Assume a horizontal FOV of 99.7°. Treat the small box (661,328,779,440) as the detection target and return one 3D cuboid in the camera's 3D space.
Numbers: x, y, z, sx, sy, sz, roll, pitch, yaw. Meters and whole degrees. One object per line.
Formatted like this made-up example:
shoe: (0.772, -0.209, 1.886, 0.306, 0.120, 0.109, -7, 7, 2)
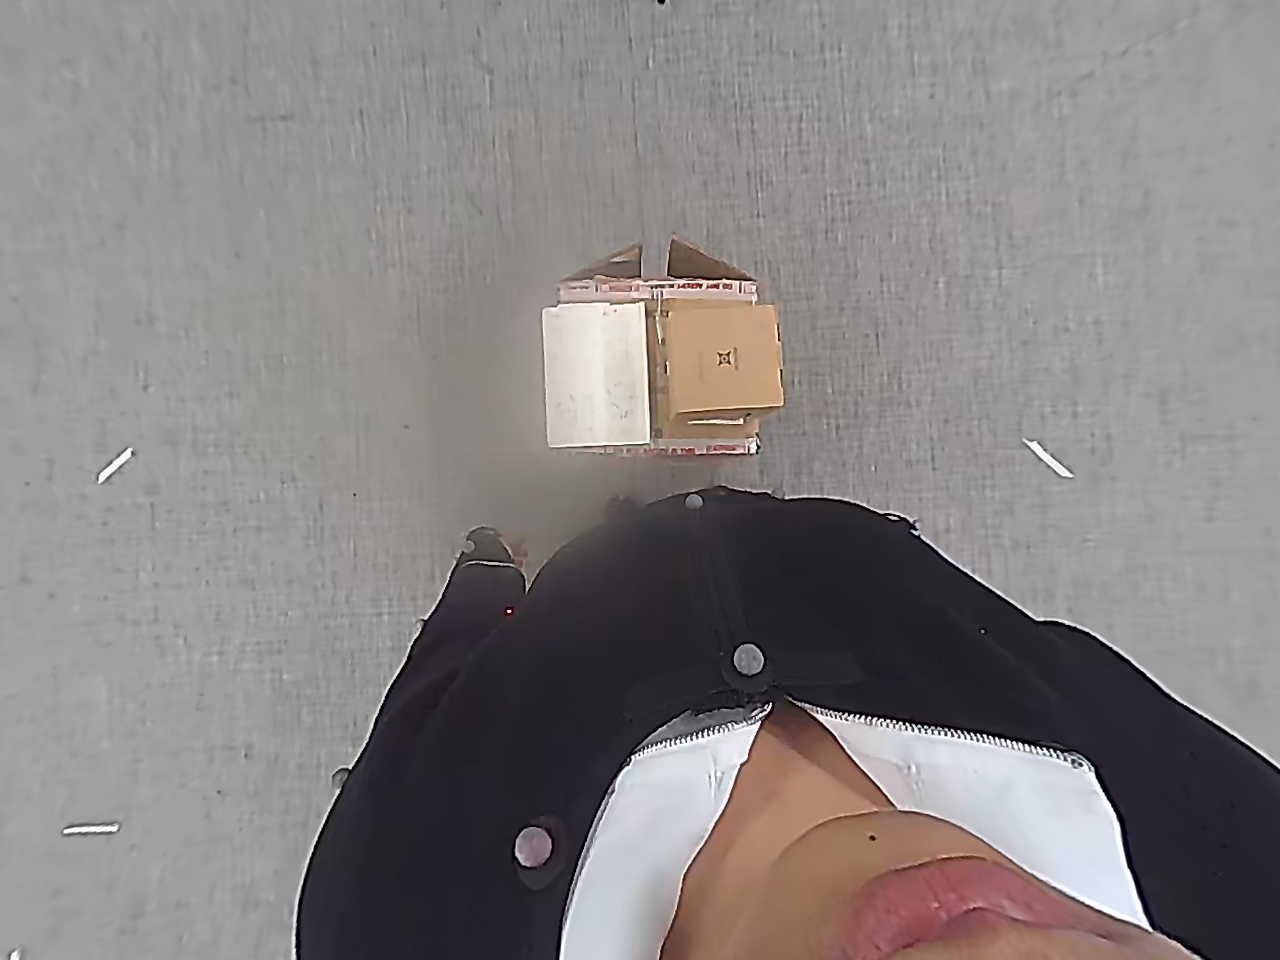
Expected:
small box: (0.134, -0.162, 0.955, 0.179, 0.176, 0.168, -5, 90, -1)
